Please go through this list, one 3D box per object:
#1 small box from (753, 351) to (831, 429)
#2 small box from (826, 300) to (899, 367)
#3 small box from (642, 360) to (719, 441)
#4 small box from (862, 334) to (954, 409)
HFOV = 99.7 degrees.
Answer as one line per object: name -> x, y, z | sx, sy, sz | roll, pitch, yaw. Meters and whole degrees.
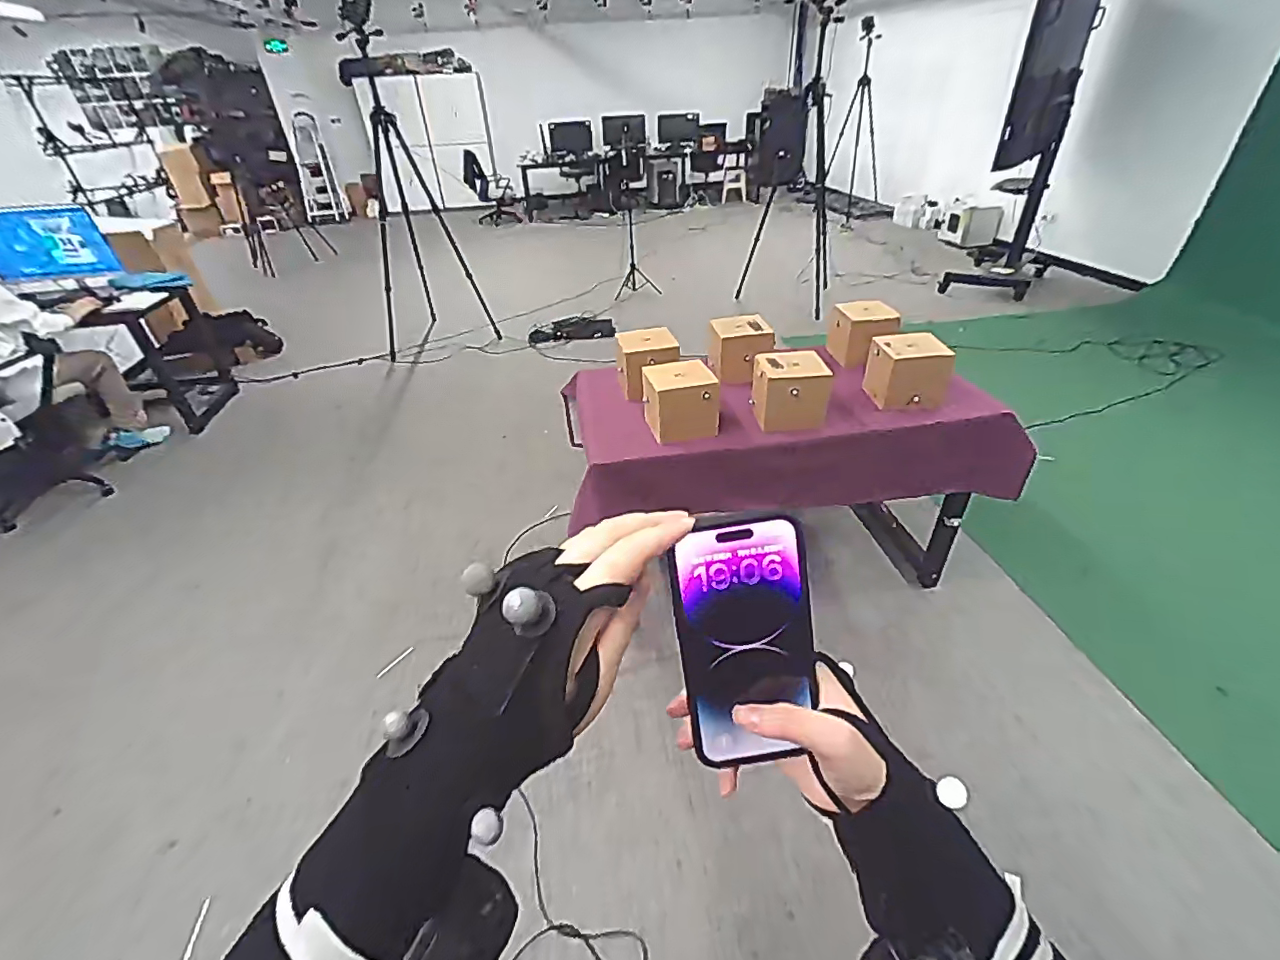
small box -> 0.424, -0.255, 1.543 | 0.179, 0.176, 0.168 | -3, 36, -1
small box -> 0.755, -0.503, 1.856 | 0.168, 0.176, 0.179 | -6, 37, -2
small box -> 0.113, -0.223, 1.527 | 0.179, 0.176, 0.168 | -10, 36, -11
small box -> 0.784, -0.321, 1.603 | 0.179, 0.176, 0.168 | -3, 35, 0
